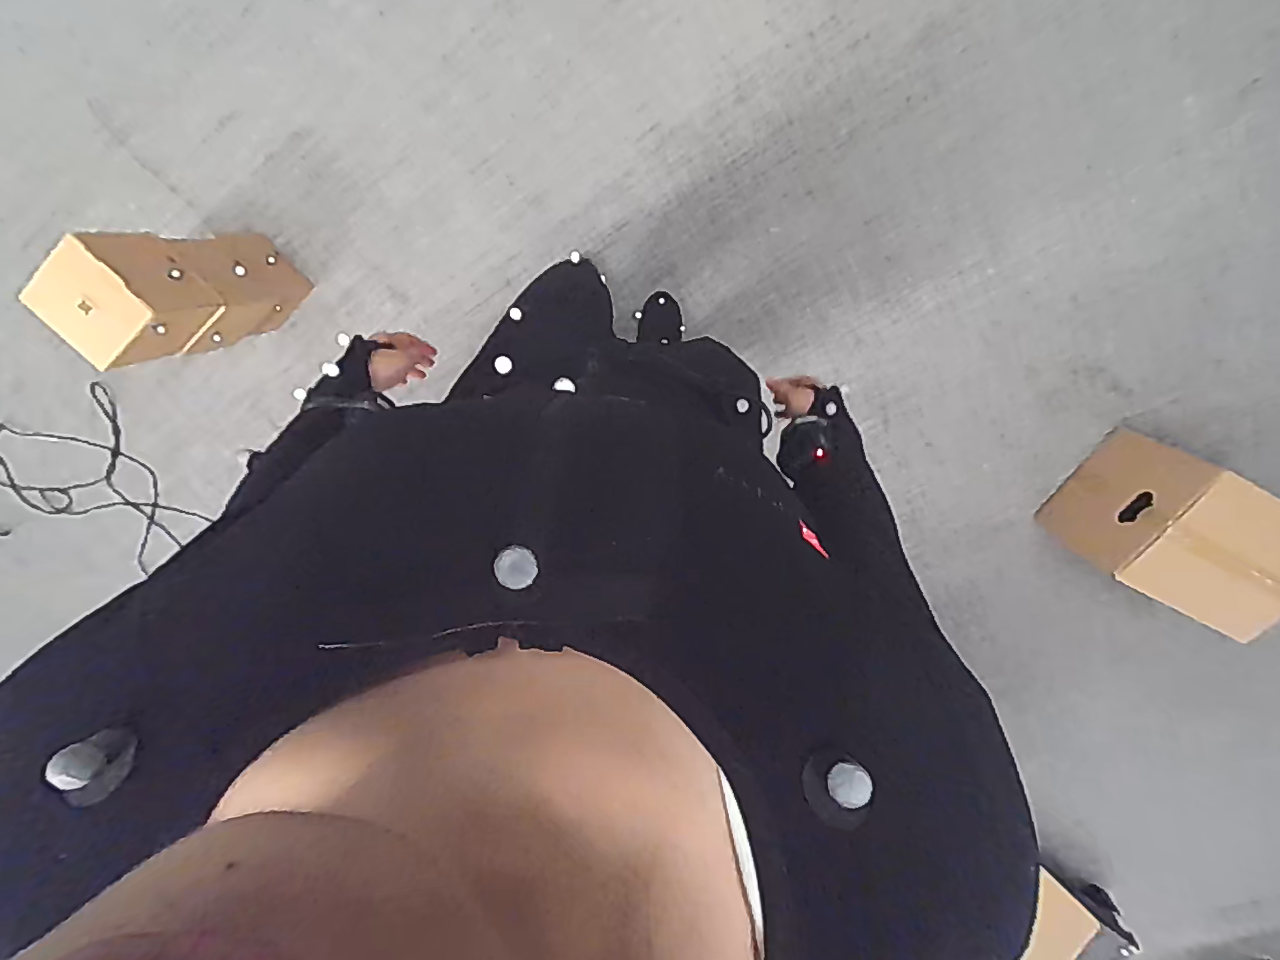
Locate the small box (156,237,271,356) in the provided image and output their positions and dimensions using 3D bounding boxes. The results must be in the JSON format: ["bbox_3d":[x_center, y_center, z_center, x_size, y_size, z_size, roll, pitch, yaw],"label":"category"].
[{"bbox_3d":[-0.948,-0.394,1.157,0.179,0.176,0.168,-34,108,15],"label":"small box"}]

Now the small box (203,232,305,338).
[{"bbox_3d":[-0.954,-0.471,1.302,0.179,0.176,0.168,-37,106,18],"label":"small box"}]

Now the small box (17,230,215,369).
[{"bbox_3d":[-0.956,-0.336,1.005,0.179,0.176,0.168,-35,108,15],"label":"small box"}]
